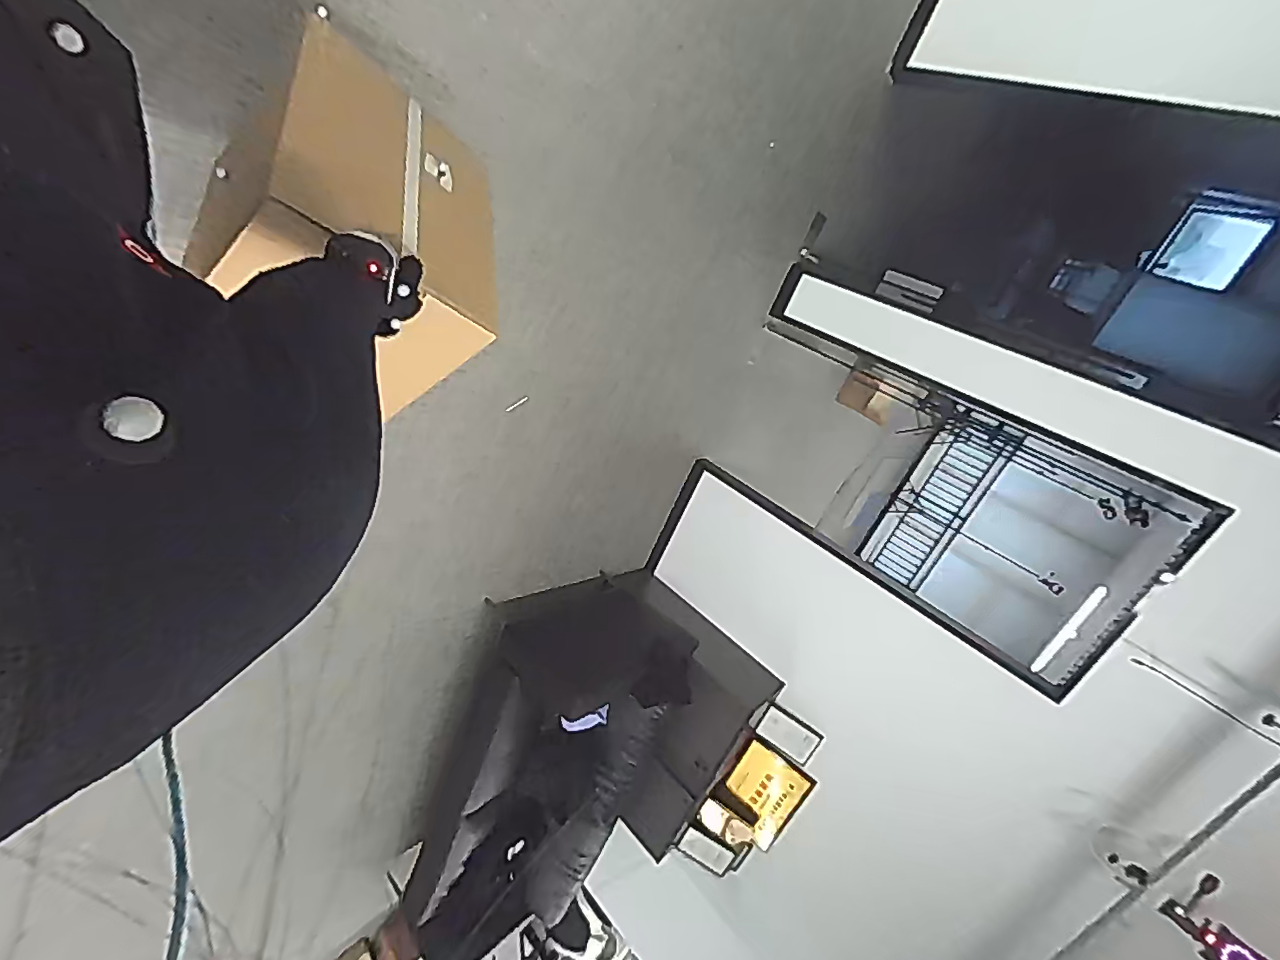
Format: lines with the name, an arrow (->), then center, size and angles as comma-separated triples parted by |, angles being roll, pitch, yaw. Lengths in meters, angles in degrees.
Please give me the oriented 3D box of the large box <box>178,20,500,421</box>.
large box -> -0.451, -0.366, 0.848 | 0.320, 0.408, 0.320 | -26, 150, 27
